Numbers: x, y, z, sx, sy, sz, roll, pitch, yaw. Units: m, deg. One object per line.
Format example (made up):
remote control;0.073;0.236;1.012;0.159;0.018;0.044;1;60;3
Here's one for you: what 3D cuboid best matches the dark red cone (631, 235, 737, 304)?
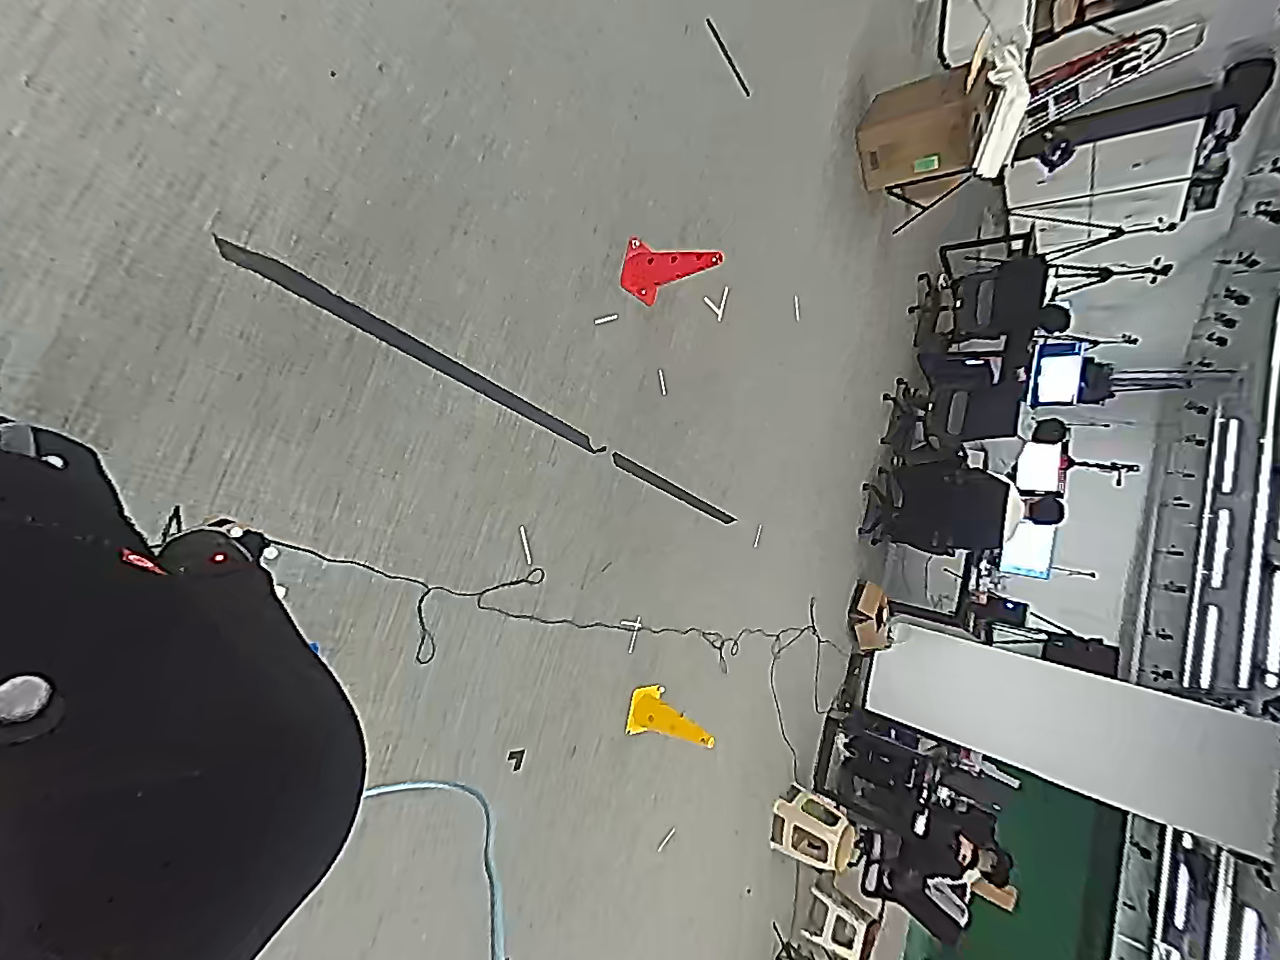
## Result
dark red cone;0.165;-0.767;1.932;0.202;0.394;0.201;16;86;-50
